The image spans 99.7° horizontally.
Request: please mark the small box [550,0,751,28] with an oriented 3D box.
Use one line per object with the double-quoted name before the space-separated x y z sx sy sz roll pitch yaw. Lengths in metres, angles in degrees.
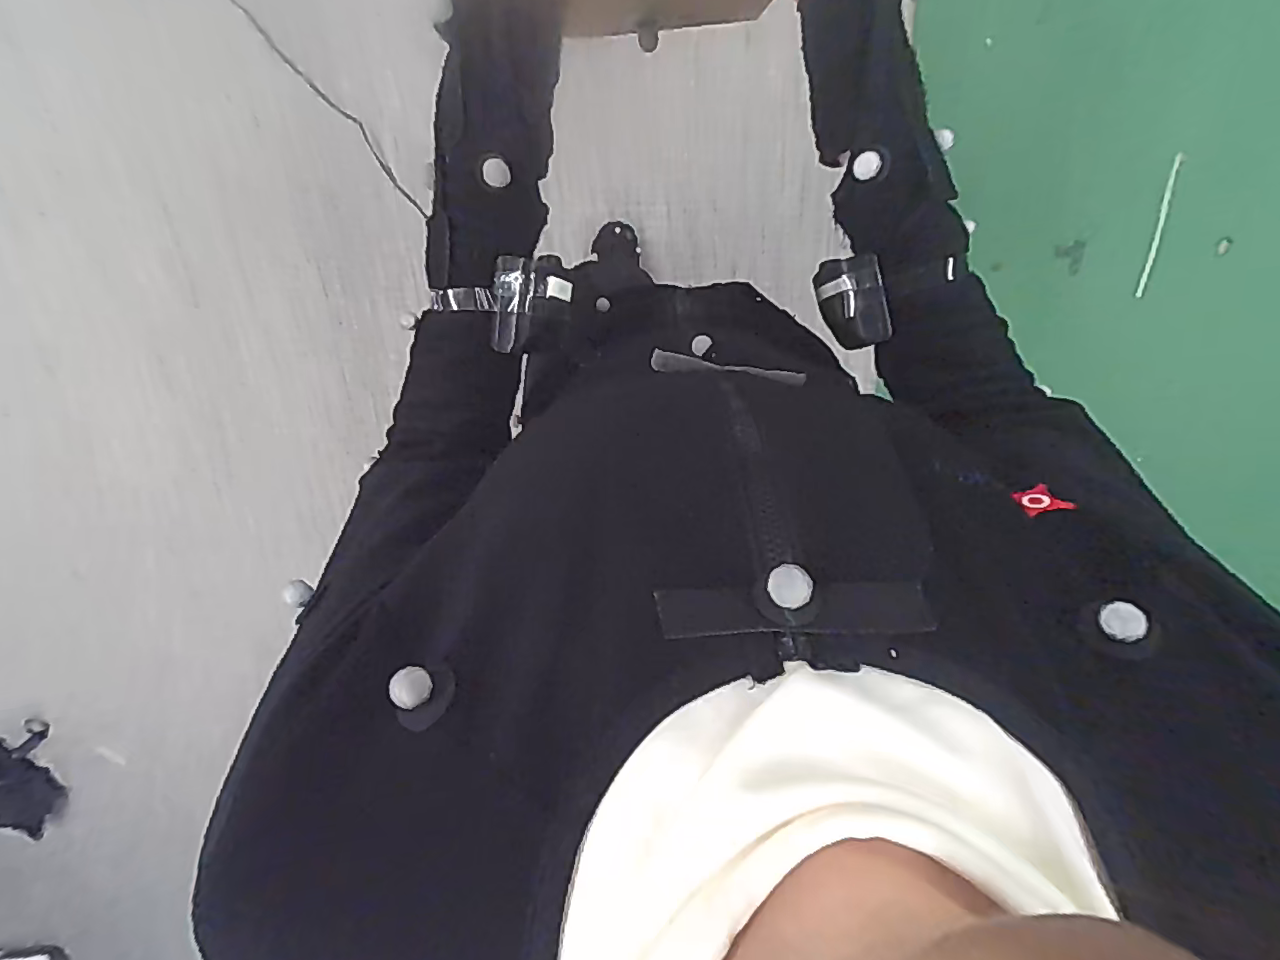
"small box" 0.007 -0.408 0.320 0.168 0.176 0.179 -6 117 0
